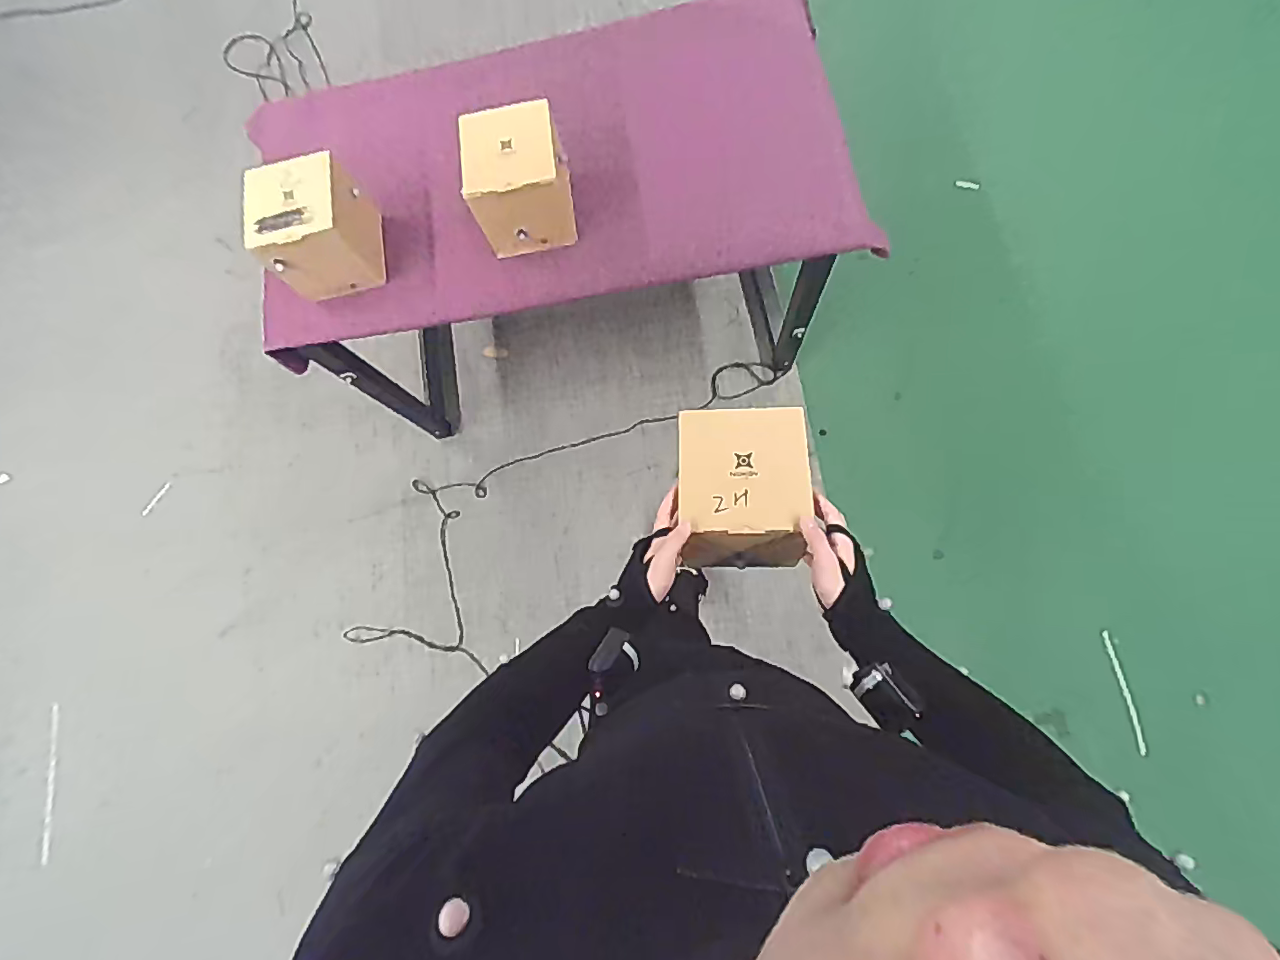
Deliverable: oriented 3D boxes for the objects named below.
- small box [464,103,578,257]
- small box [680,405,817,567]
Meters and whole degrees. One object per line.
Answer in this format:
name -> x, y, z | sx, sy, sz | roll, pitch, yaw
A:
small box -> -0.218, -0.554, 1.014 | 0.168, 0.176, 0.179 | -9, 76, 3
small box -> 0.144, 0.013, 0.758 | 0.168, 0.176, 0.179 | -1, 66, 8
